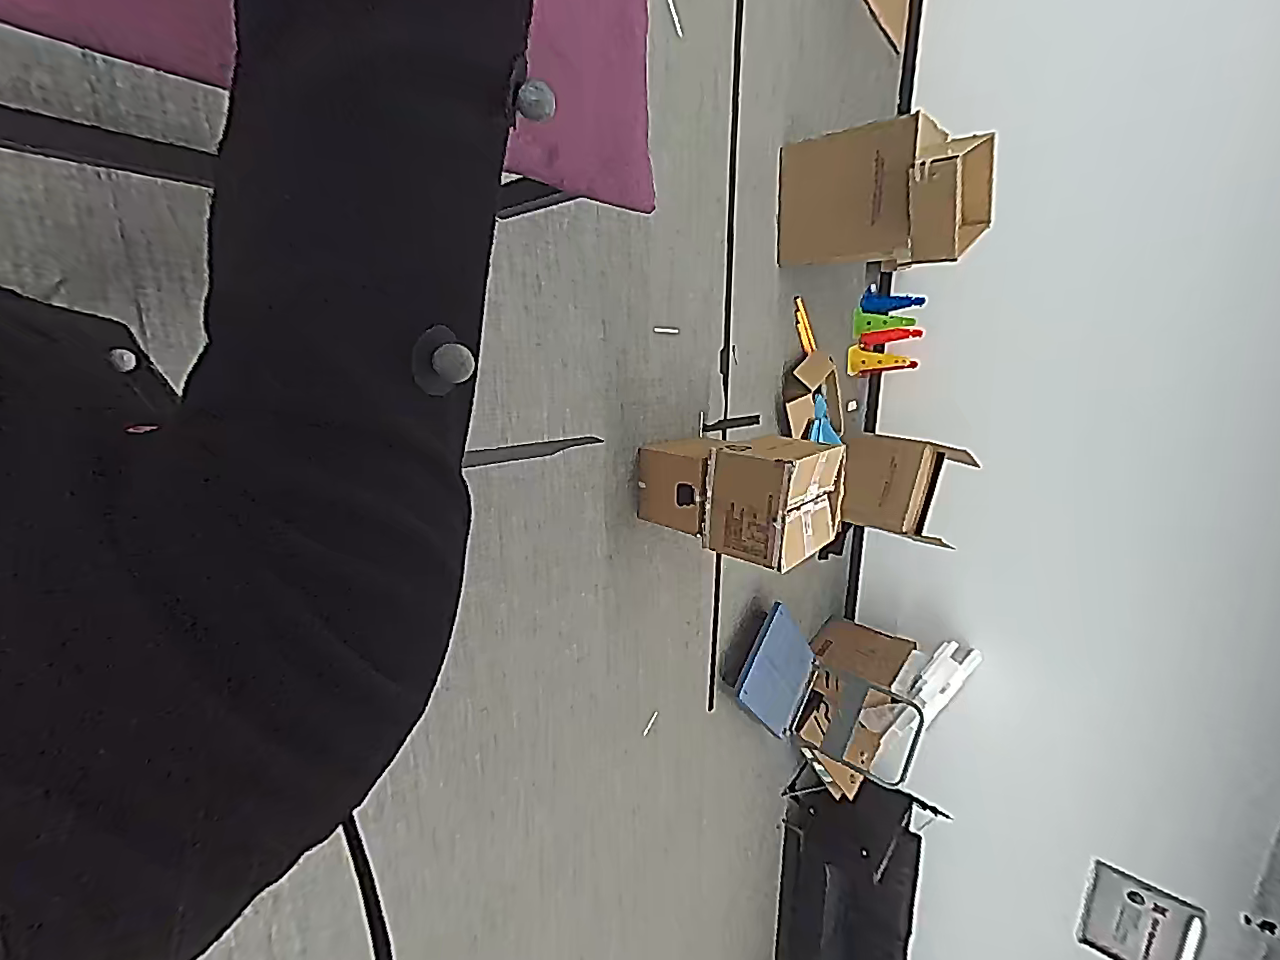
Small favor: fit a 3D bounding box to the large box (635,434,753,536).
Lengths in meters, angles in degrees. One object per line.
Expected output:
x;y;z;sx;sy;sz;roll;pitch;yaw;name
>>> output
0.226;0.003;2.250;0.408;0.320;0.320;-15;111;-46;large box
